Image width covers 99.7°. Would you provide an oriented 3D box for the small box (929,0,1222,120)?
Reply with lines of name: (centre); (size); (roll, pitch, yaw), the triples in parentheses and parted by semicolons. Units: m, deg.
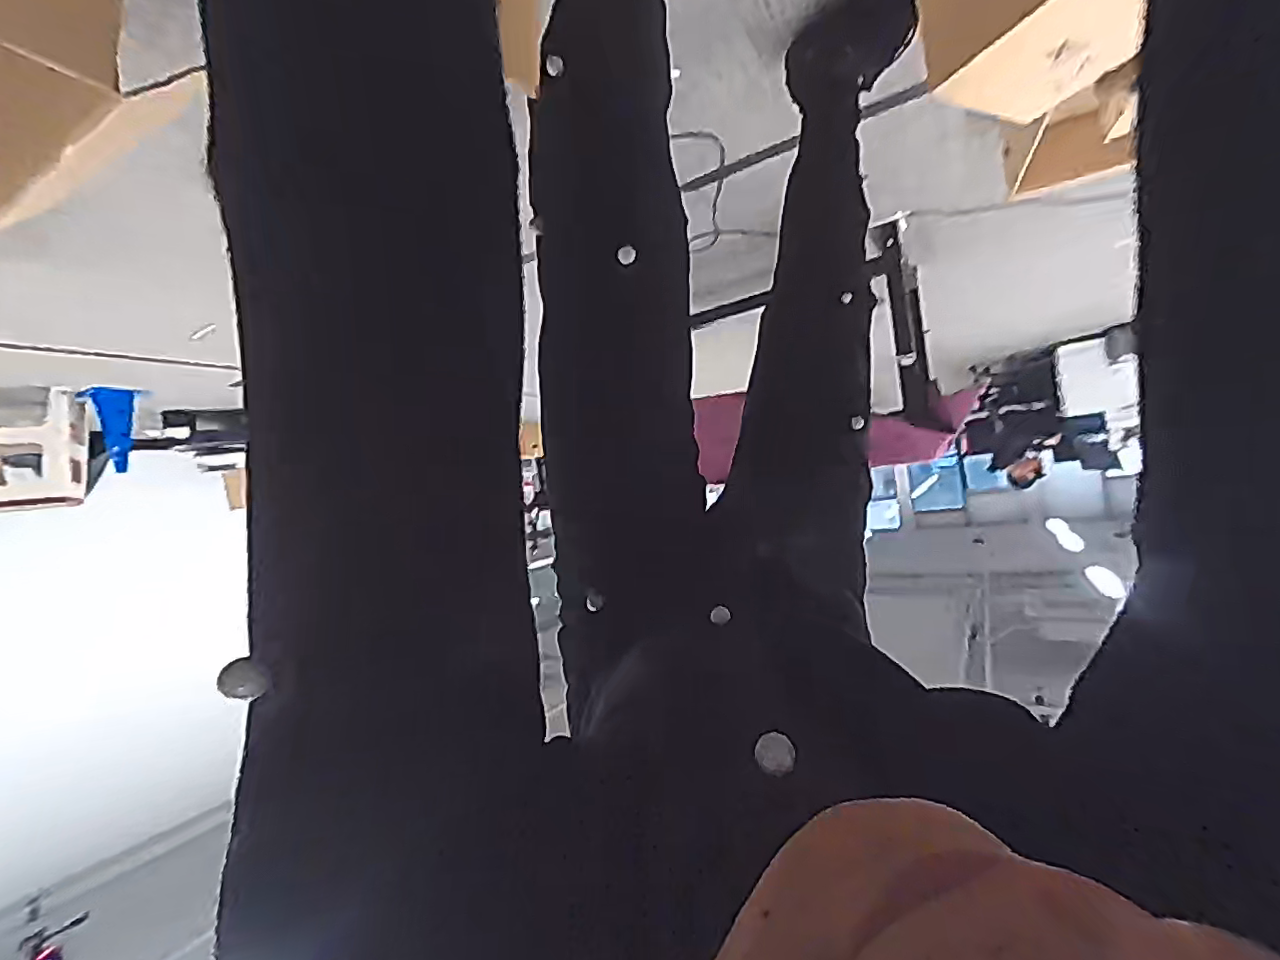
small box: (0.400, -0.494, 0.518); (0.179, 0.176, 0.168); (-8, 180, -26)
